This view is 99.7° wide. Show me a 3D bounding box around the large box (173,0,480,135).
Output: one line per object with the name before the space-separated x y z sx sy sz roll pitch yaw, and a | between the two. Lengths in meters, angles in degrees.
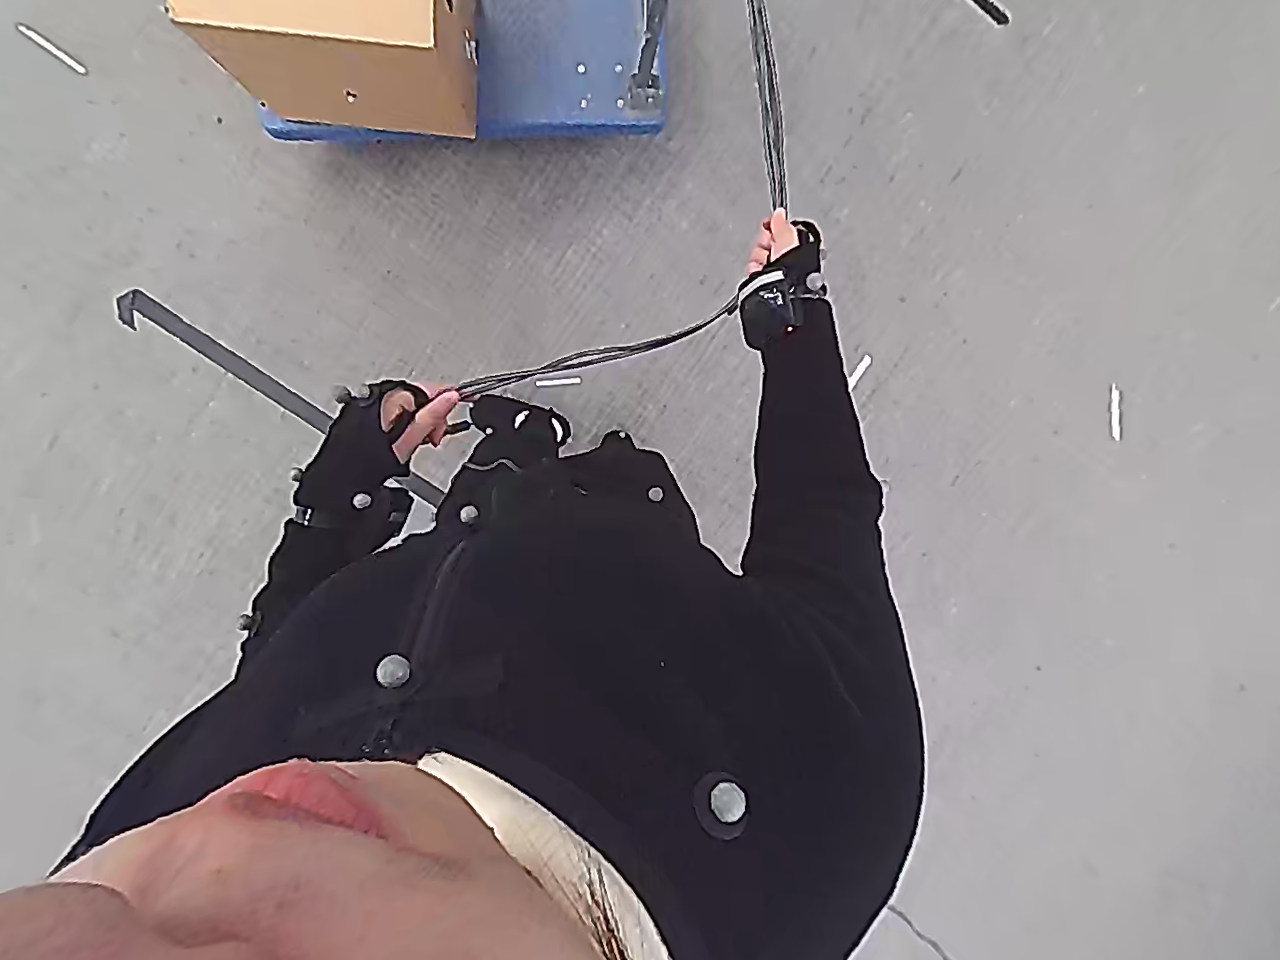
large box | -0.526 -0.865 0.974 0.408 0.320 0.320 2 98 -4
